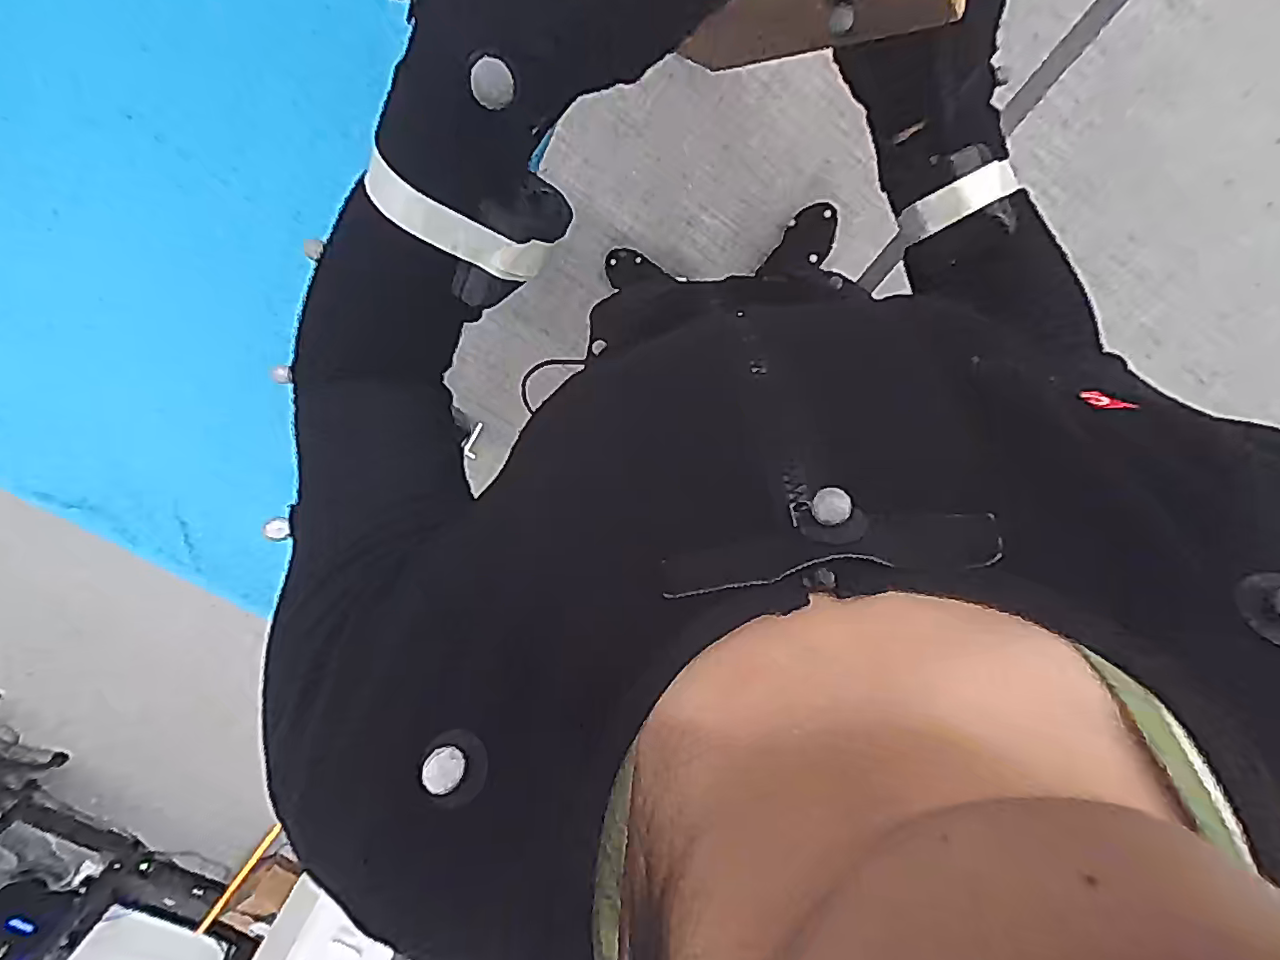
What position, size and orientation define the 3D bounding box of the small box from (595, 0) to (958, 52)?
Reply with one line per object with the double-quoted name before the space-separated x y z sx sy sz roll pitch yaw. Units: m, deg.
"small box" 0.082 -0.340 0.267 0.168 0.176 0.179 13 119 28
